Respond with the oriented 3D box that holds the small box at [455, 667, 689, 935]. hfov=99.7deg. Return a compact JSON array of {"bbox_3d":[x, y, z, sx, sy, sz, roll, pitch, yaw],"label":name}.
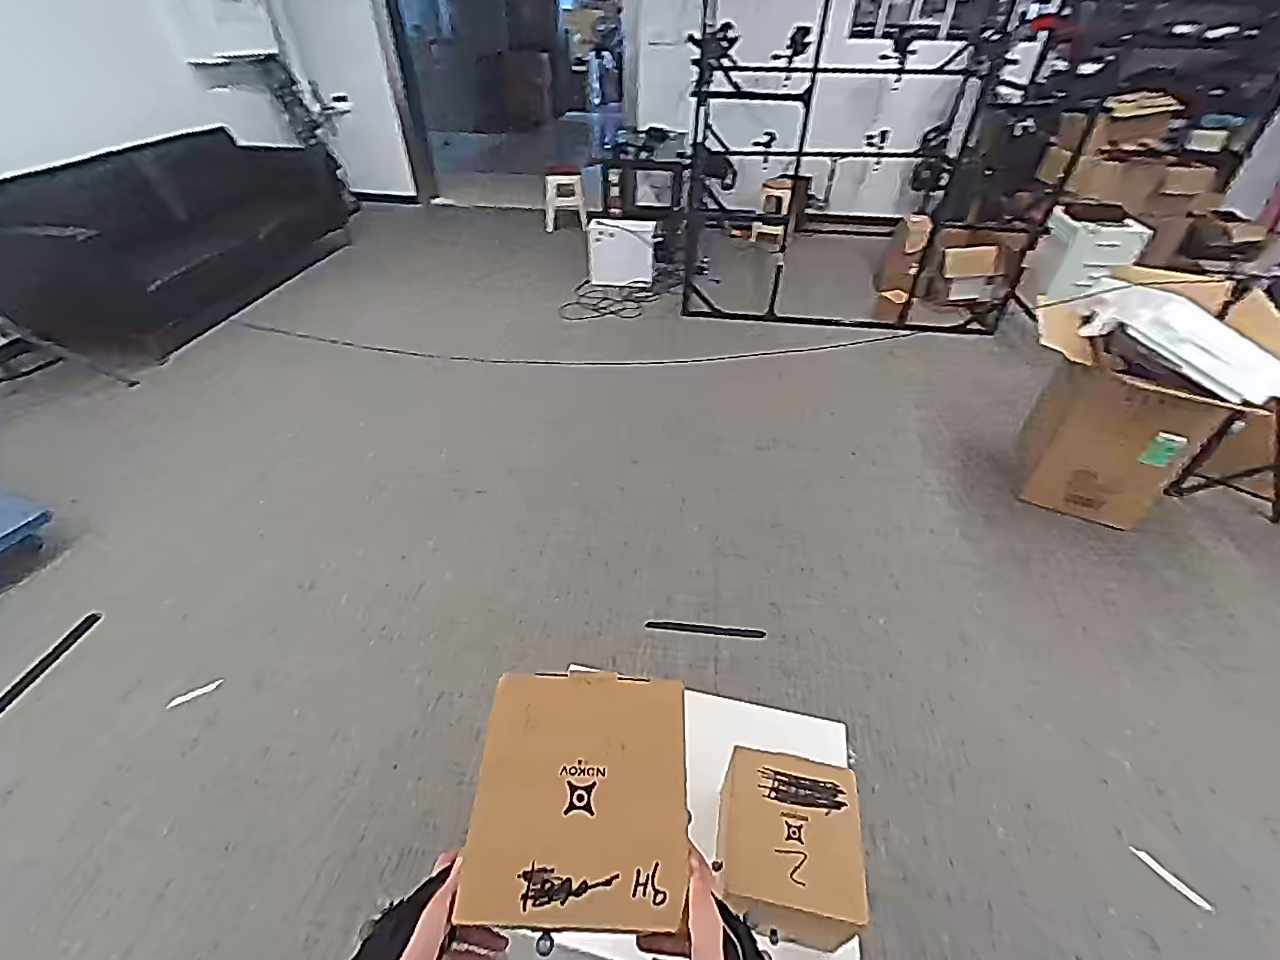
[{"bbox_3d":[-0.048,0.289,0.486,0.168,0.176,0.179,3,50,-1],"label":"small box"}]
